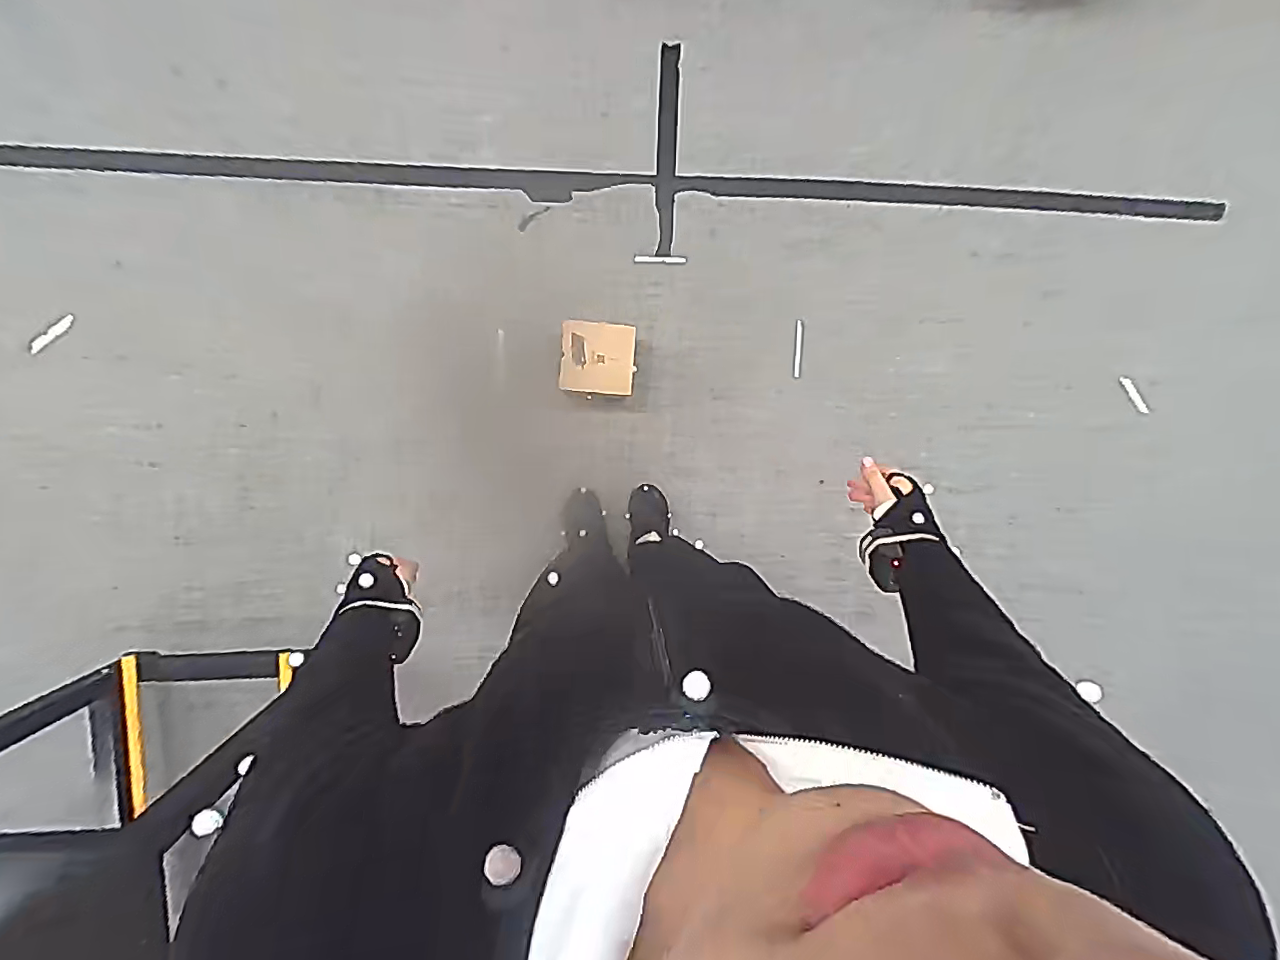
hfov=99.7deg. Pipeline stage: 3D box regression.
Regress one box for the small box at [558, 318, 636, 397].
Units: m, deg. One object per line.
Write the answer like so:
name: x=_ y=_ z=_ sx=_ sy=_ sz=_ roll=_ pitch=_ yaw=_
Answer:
small box: x=-0.107 y=-0.300 z=1.357 sx=0.179 sy=0.176 sz=0.168 roll=4 pitch=96 yaw=-6
